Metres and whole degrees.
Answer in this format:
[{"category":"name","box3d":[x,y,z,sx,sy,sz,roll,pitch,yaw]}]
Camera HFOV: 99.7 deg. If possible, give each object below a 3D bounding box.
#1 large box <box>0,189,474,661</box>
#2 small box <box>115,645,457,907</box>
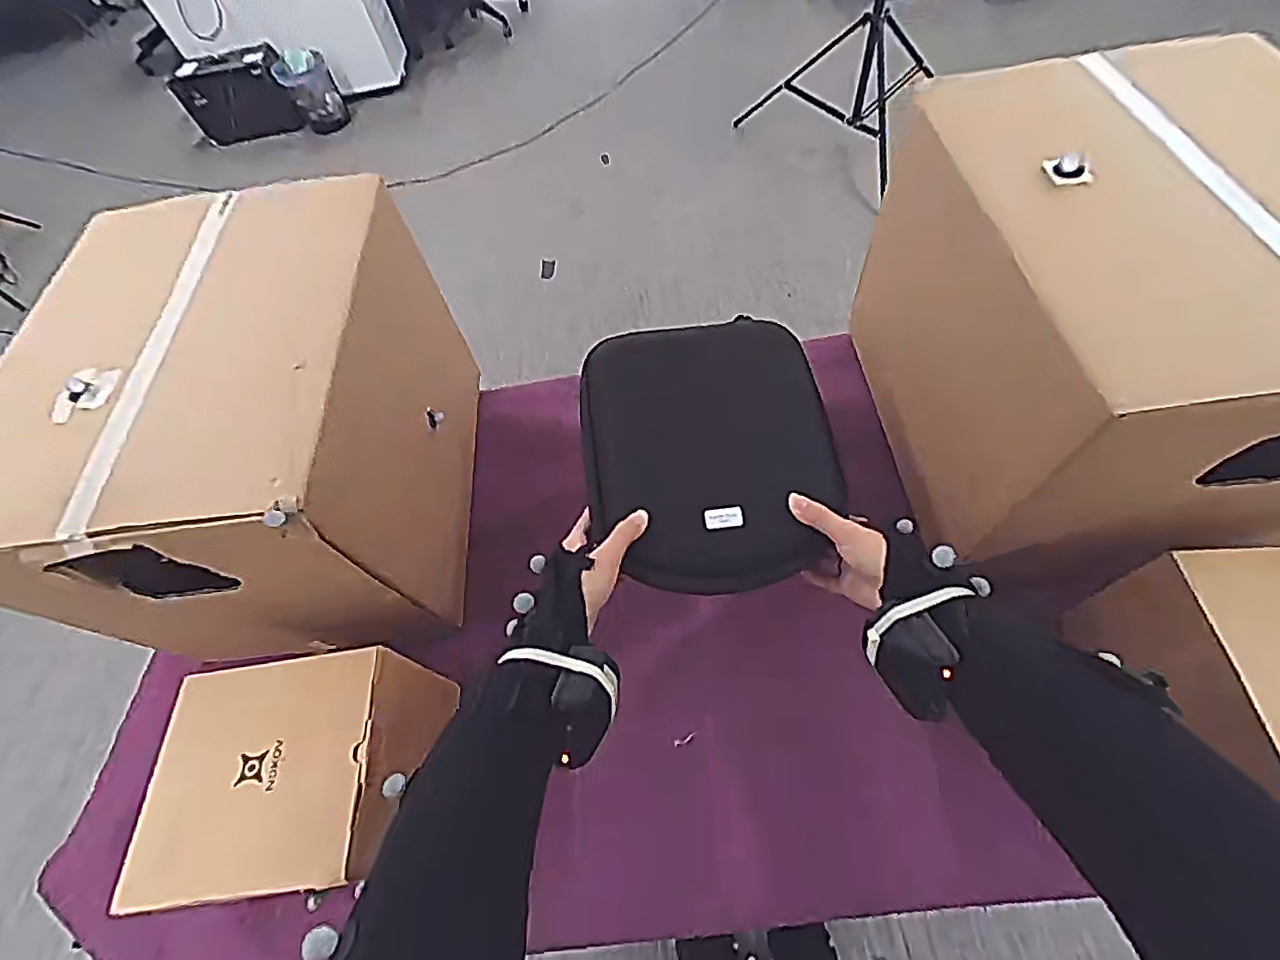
[{"category":"large box","box3d":[-0.388,-0.047,0.607,0.320,0.320,0.408,-8,61,2]},{"category":"small box","box3d":[-0.287,0.266,0.489,0.179,0.176,0.168,-10,57,1]}]
